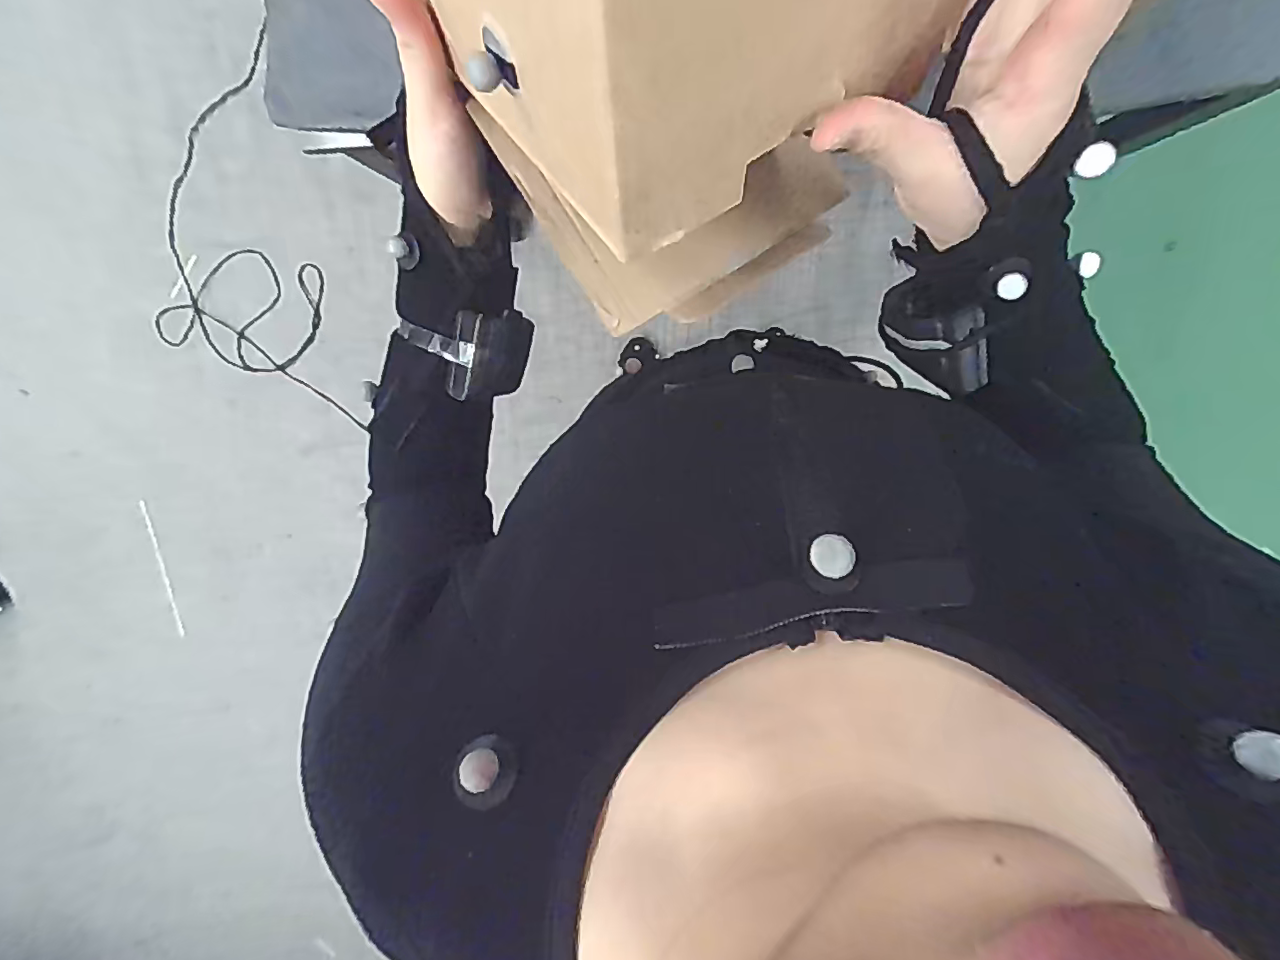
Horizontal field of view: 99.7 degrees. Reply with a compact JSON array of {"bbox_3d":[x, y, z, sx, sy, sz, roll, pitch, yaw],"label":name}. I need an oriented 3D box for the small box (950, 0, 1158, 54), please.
[{"bbox_3d":[0.412,-0.538,0.497,0.168,0.176,0.179,1,104,6],"label":"small box"}]

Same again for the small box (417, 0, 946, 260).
[{"bbox_3d":[0.004,-0.224,0.180,0.168,0.176,0.179,-34,74,-9],"label":"small box"}]
